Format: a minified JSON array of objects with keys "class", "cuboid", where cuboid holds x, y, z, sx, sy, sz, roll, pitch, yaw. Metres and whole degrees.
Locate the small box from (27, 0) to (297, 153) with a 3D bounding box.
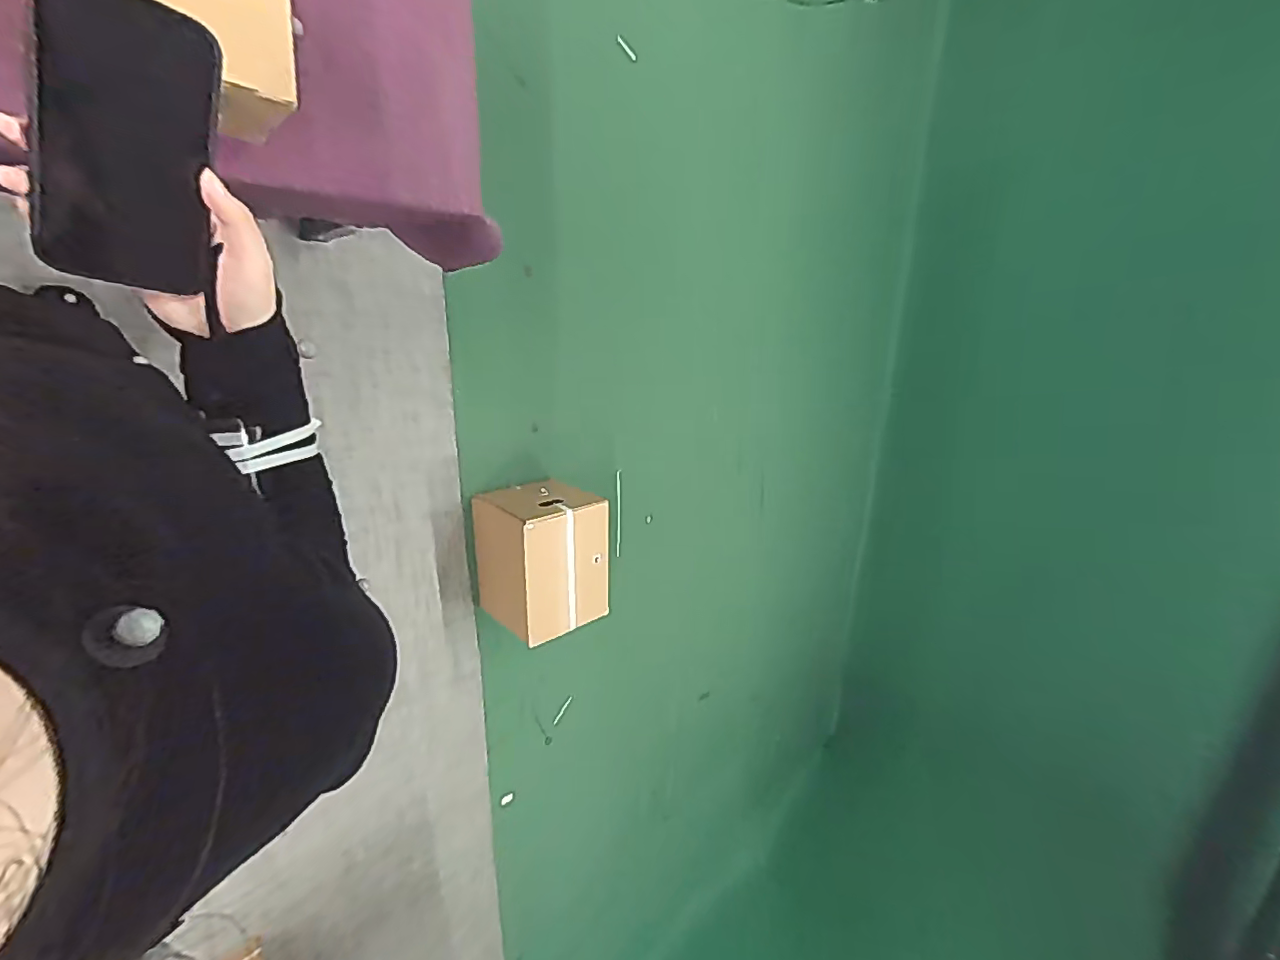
[{"class":"small box","cuboid":[-0.425,-0.422,0.478,0.168,0.176,0.179,-10,109,-43]}]
